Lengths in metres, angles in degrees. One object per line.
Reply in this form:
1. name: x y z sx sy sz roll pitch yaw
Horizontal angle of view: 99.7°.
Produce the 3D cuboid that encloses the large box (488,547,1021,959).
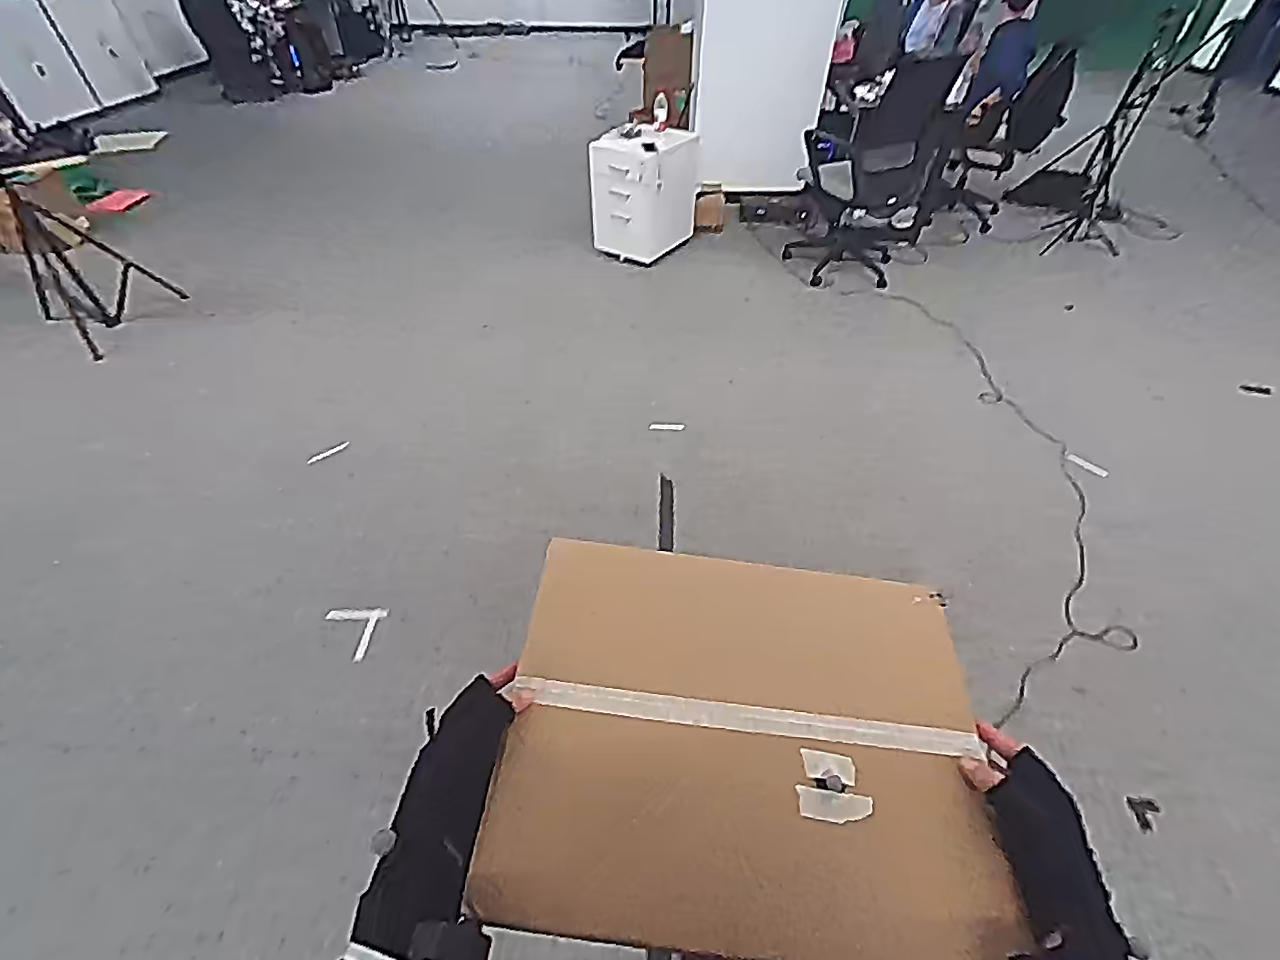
1. large box: 0.083 0.303 0.600 0.408 0.320 0.320 7 52 0
